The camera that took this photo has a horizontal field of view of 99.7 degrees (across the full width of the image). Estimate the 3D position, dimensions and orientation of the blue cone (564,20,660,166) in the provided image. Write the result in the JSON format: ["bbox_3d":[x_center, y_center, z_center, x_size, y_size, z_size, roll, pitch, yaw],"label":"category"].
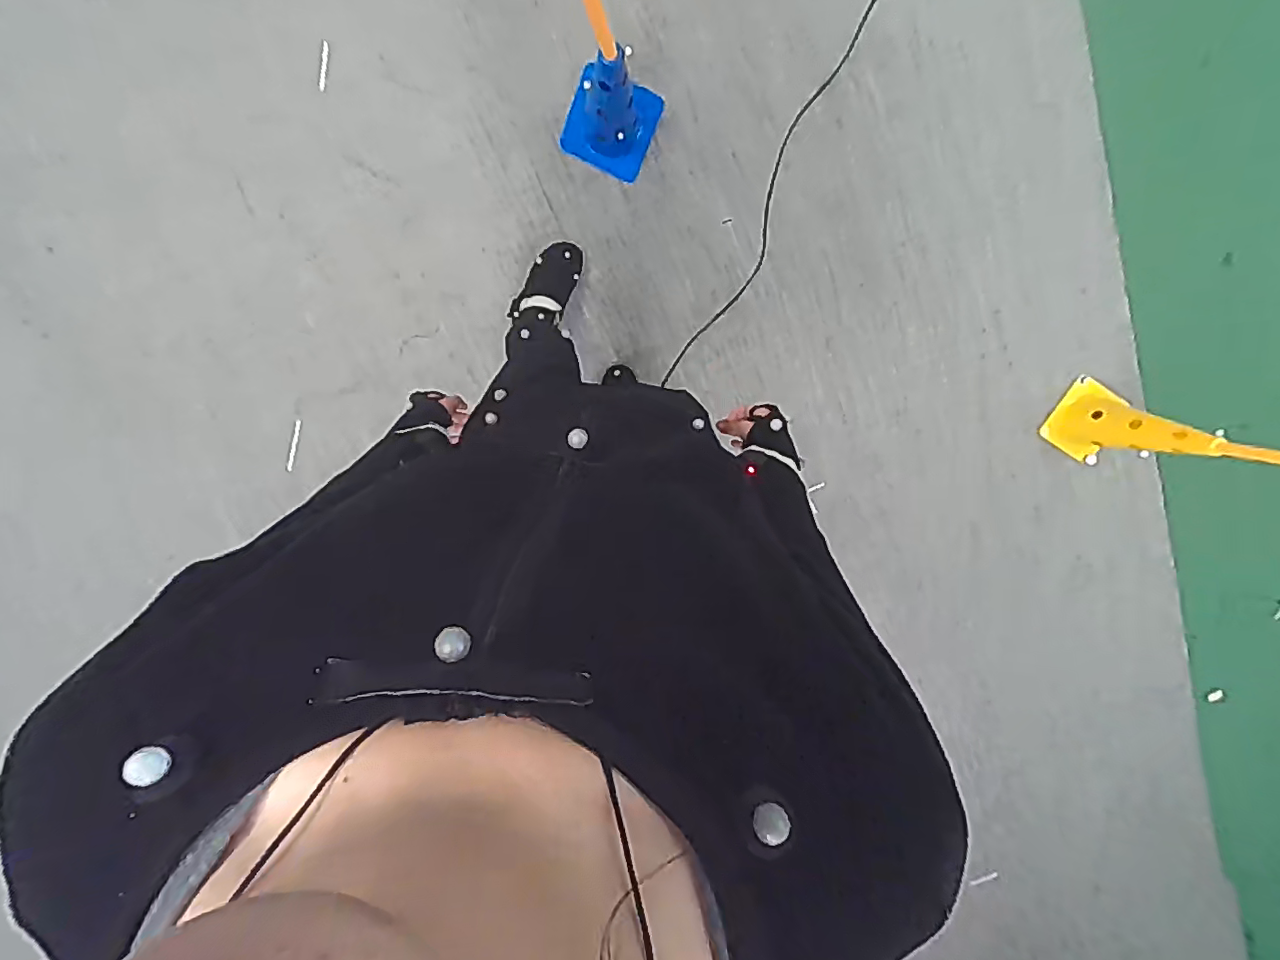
[{"bbox_3d":[-0.061,-0.788,1.076,0.193,0.380,0.192,20,106,-8],"label":"blue cone"}]
